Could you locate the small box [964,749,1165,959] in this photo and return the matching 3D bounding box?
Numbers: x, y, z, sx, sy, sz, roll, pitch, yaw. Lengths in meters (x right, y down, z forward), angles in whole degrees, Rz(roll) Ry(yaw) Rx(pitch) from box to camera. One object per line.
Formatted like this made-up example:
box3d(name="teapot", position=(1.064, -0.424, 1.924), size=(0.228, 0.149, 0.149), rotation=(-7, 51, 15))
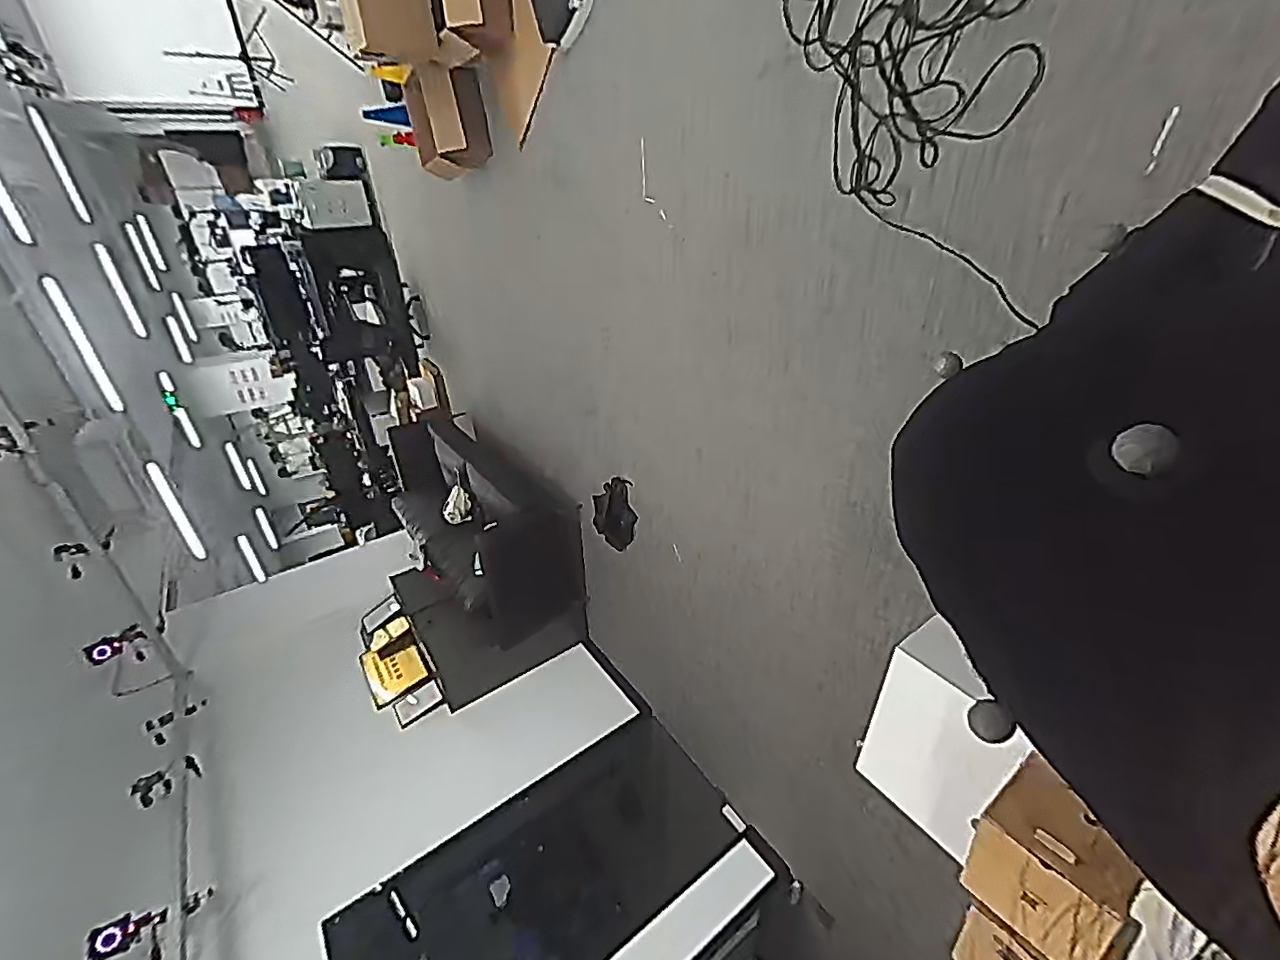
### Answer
box3d(name="small box", position=(0.613, 0.544, 0.789), size=(0.168, 0.176, 0.179), rotation=(30, 133, 49))
